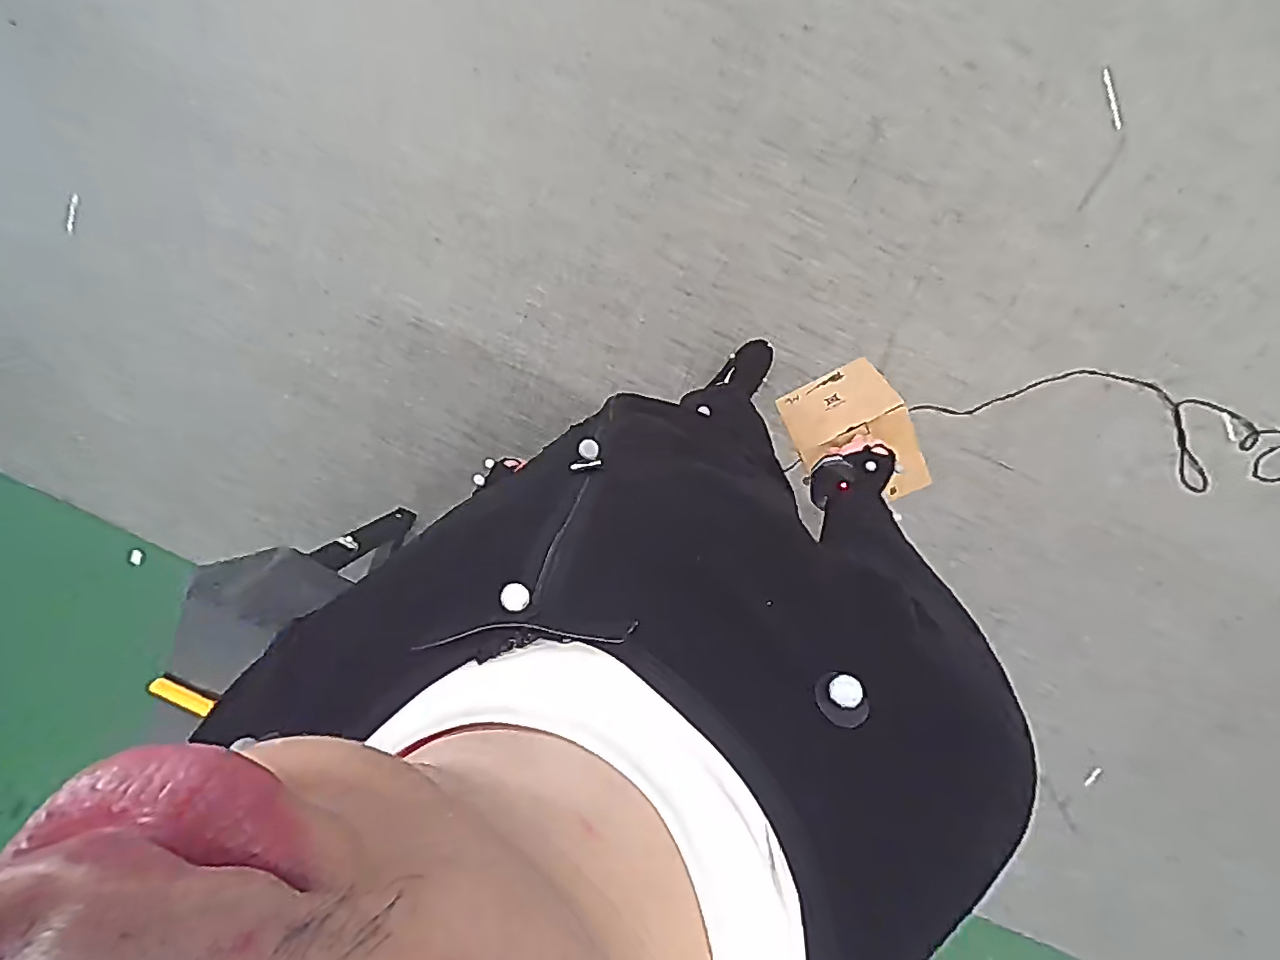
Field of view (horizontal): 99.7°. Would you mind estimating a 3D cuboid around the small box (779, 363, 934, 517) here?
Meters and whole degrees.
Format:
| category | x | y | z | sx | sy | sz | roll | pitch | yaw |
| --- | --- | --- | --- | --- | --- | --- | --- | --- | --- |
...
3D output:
| category | x | y | z | sx | sy | sz | roll | pitch | yaw |
| --- | --- | --- | --- | --- | --- | --- | --- | --- | --- |
| small box | 0.362 | -0.060 | 0.912 | 0.168 | 0.179 | 0.176 | -29 | 120 | 16 |
